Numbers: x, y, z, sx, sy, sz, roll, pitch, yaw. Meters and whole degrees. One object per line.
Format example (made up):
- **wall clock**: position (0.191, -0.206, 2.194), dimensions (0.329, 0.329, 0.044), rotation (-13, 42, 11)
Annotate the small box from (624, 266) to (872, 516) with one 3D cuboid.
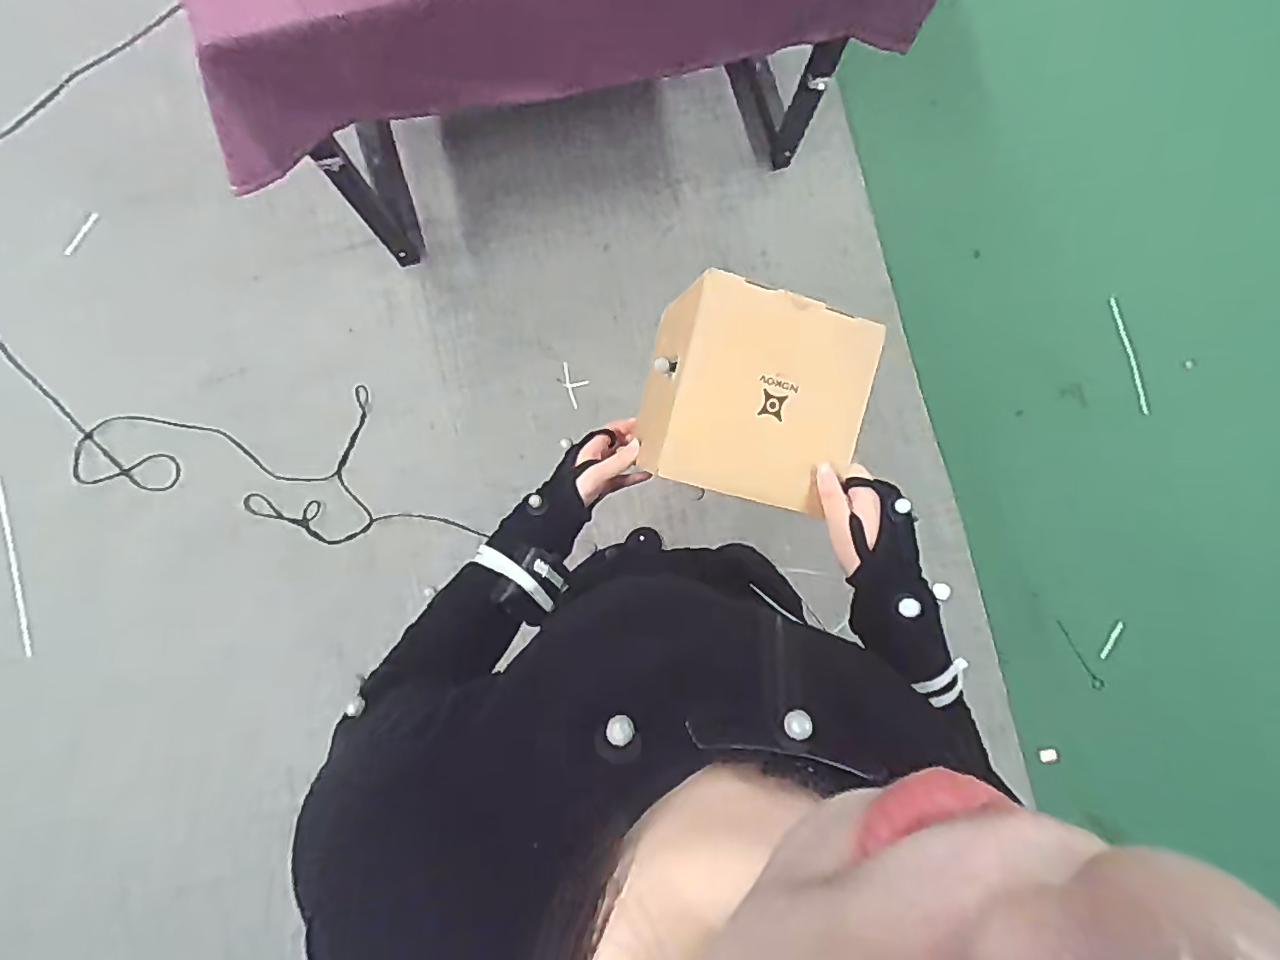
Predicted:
- **small box**: position (0.088, -0.078, 0.532), dimensions (0.168, 0.176, 0.179), rotation (13, 93, -12)
